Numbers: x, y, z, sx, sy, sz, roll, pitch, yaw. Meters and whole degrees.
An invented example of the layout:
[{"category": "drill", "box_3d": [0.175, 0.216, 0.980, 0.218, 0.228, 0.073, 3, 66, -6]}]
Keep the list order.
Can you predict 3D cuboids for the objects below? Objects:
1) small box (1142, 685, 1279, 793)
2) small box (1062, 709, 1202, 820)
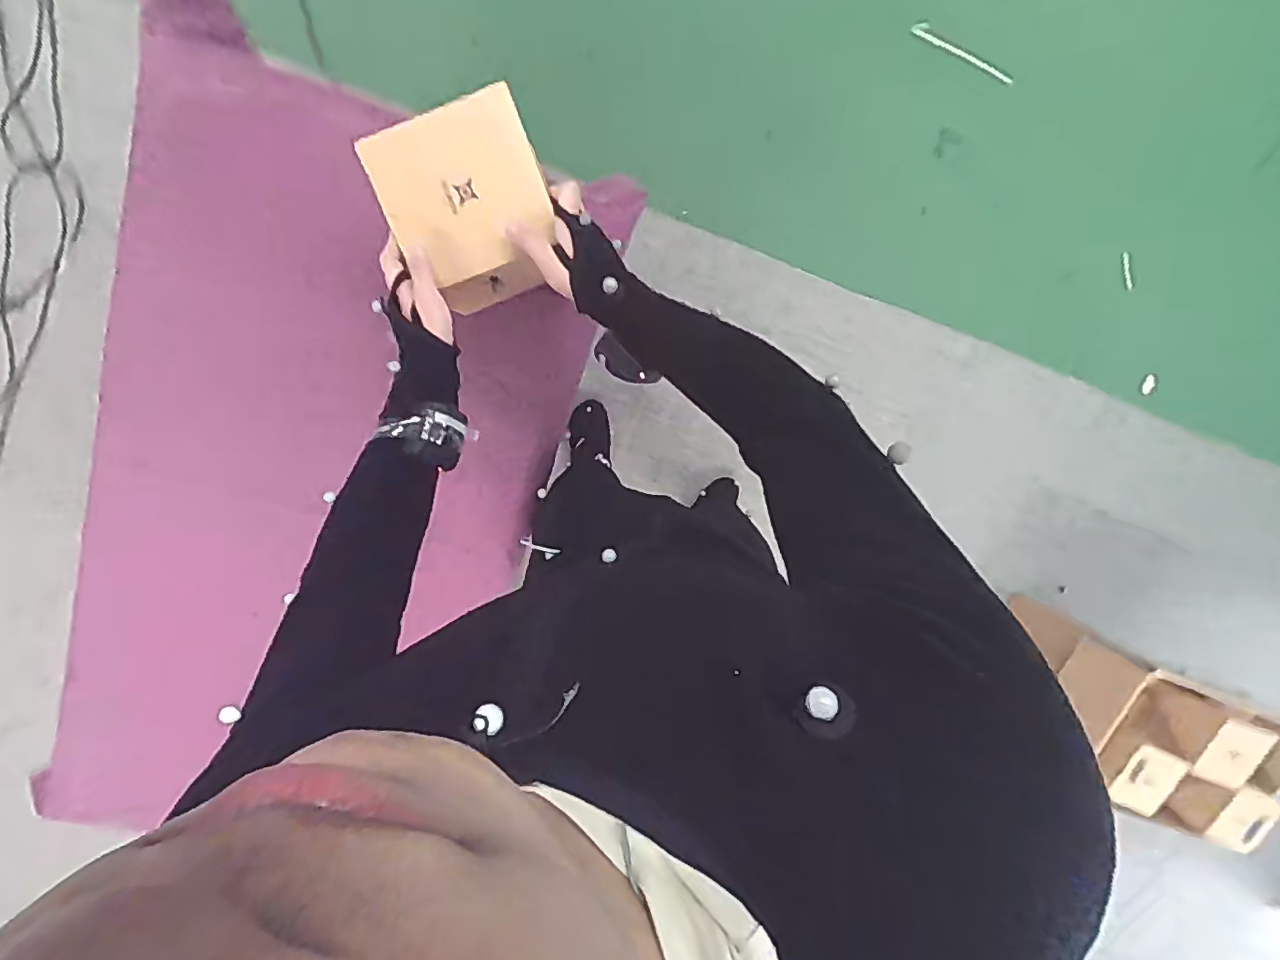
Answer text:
[{"category": "small box", "box_3d": [1.489, 0.666, 1.411, 0.179, 0.176, 0.168, 22, 101, -10]}, {"category": "small box", "box_3d": [1.263, 0.729, 1.404, 0.179, 0.176, 0.168, 24, 100, -10]}]
